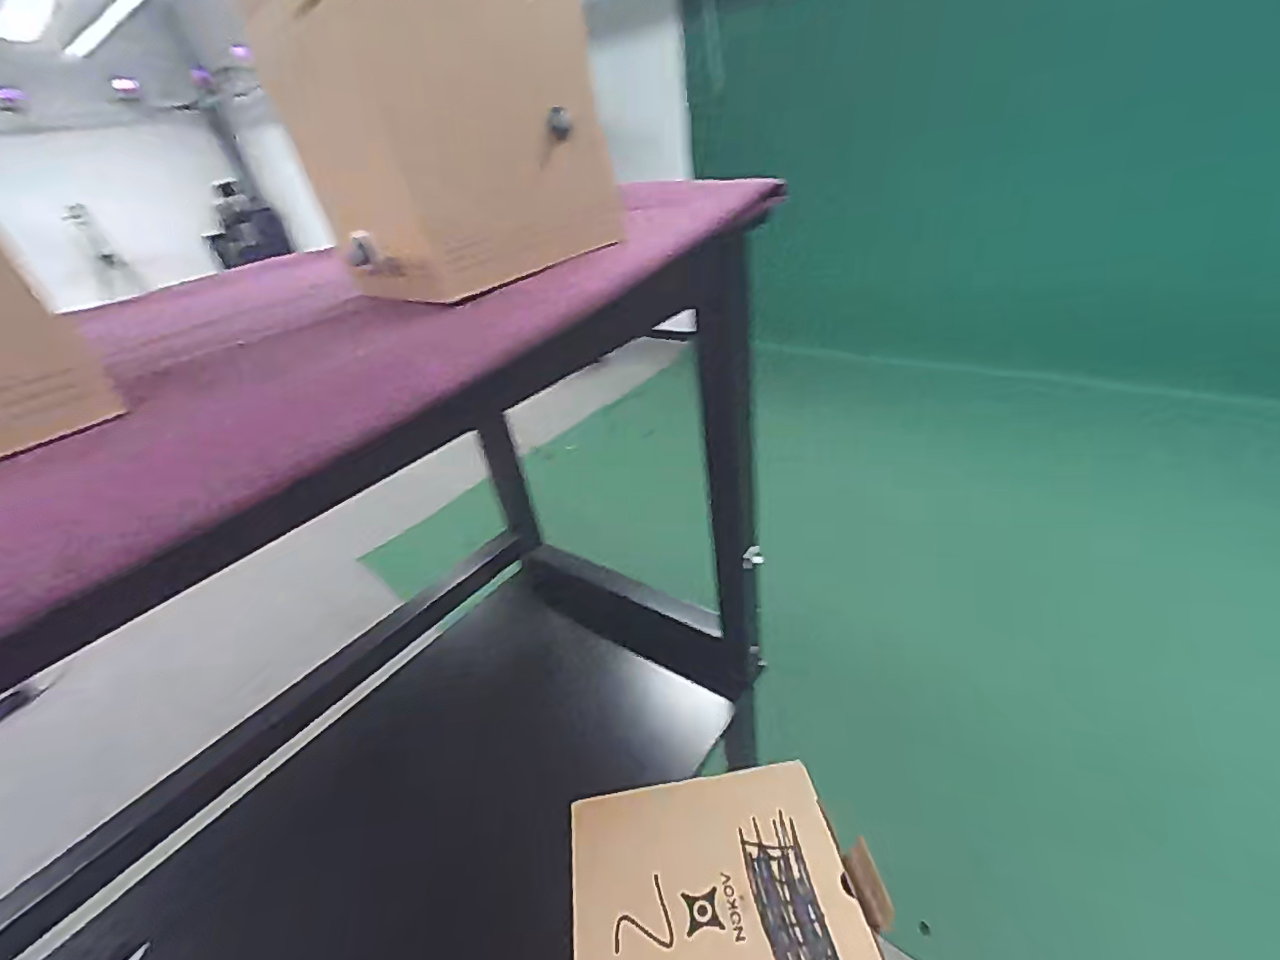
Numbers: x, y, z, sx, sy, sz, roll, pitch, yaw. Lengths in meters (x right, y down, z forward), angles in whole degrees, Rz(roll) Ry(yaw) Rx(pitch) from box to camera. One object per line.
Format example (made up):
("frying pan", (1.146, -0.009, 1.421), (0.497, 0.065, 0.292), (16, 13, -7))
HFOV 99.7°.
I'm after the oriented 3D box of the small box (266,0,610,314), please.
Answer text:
("small box", (-0.141, -0.245, 0.428), (0.168, 0.176, 0.179), (18, 44, 40))
